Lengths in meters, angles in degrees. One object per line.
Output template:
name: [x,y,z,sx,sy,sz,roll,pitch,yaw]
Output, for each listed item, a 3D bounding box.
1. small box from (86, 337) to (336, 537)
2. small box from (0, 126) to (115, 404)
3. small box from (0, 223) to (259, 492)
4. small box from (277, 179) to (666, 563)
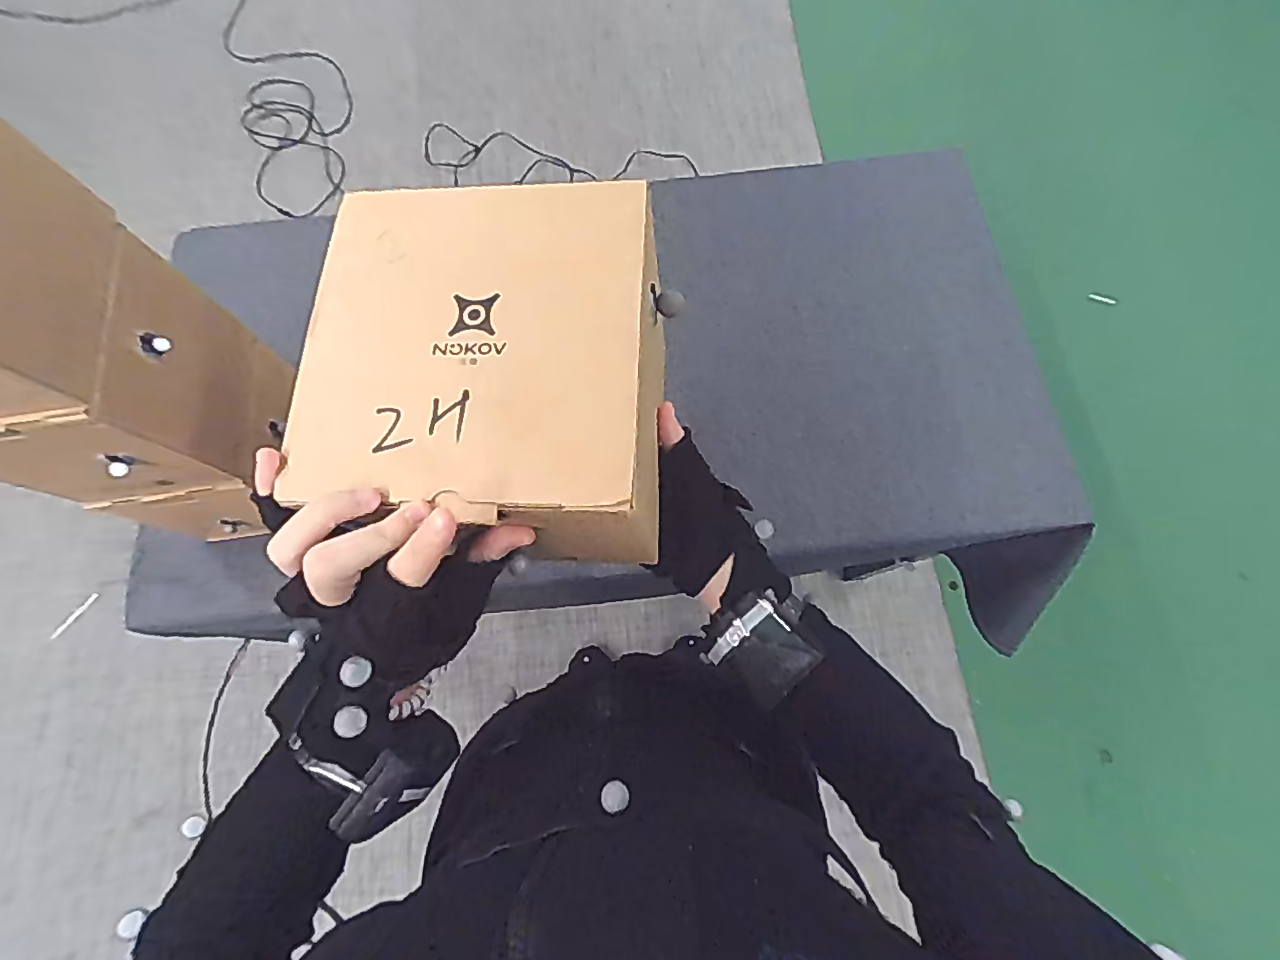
small box: [-0.484,-0.042,0.644,0.168,0.176,0.179,-8,73,-1]
small box: [-0.488,-0.150,0.336,0.168,0.176,0.179,-8,73,-3]
small box: [-0.485,-0.094,0.490,0.168,0.176,0.179,-7,73,-2]
small box: [-0.072,-0.050,0.336,0.168,0.176,0.179,1,74,6]
